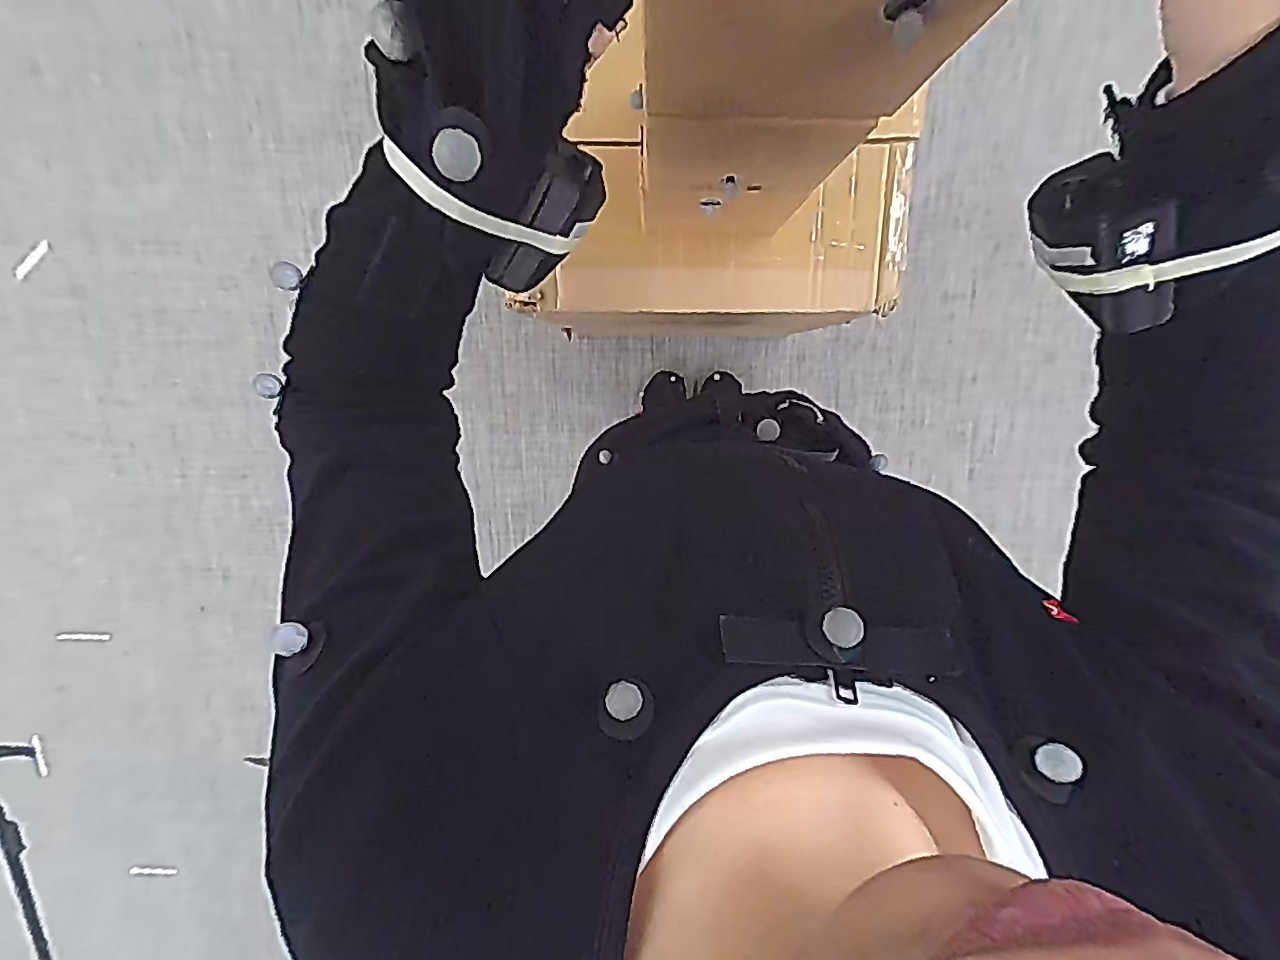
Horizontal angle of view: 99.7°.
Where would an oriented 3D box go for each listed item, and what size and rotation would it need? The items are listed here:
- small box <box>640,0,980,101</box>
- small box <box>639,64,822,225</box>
[{"bbox_3d":[0.090,-0.323,0.275,0.179,0.176,0.168,1,103,1],"label":"small box"},{"bbox_3d":[0.091,-0.391,0.597,0.179,0.176,0.168,2,102,1],"label":"small box"}]
